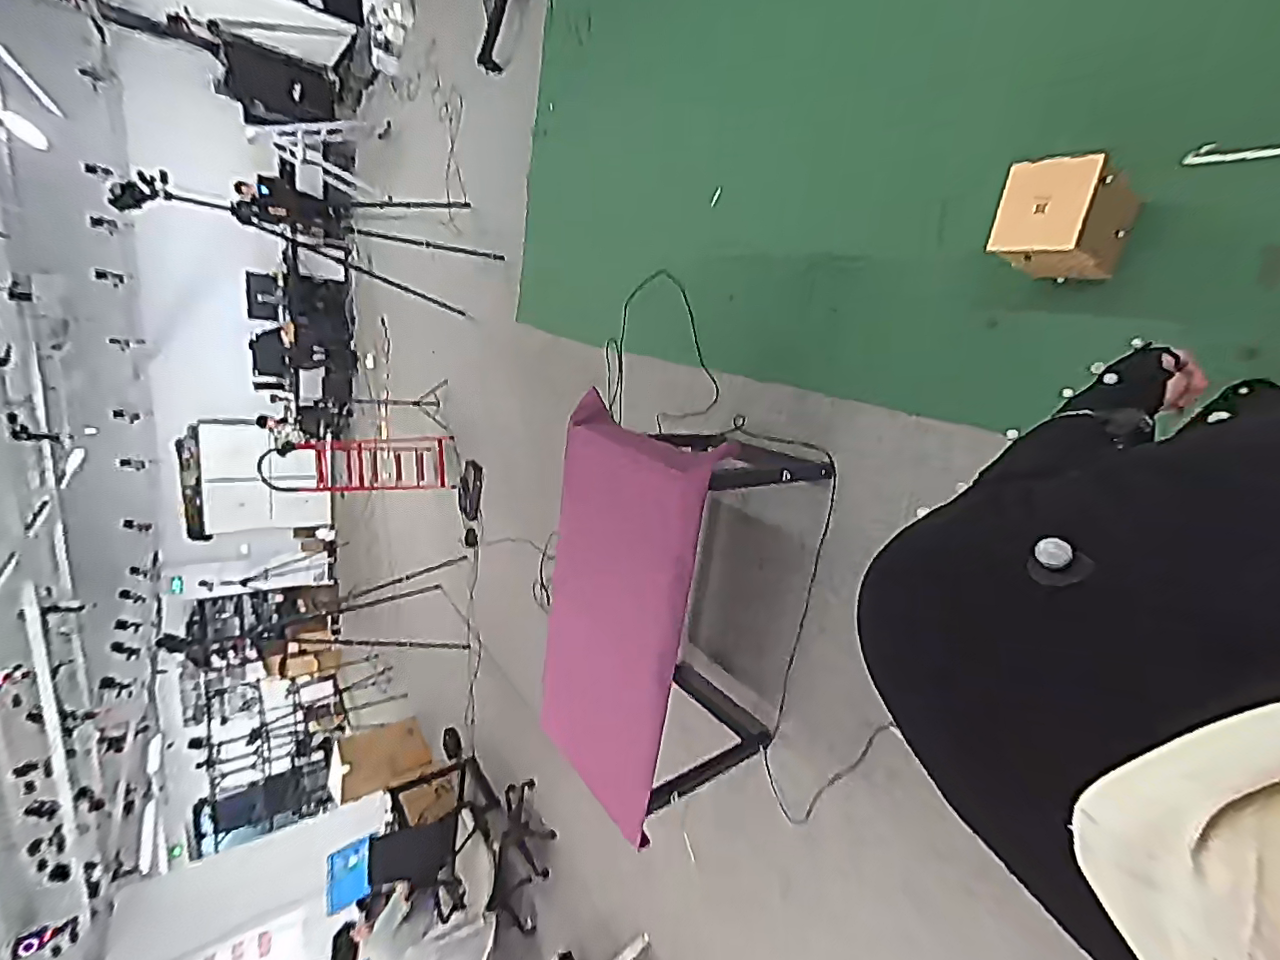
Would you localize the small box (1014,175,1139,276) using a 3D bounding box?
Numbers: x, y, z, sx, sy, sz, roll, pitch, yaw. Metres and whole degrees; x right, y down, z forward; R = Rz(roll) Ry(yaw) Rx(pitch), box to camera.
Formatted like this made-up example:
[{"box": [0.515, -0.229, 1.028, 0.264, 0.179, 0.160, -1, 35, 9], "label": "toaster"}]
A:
[{"box": [1.019, -0.585, 1.260, 0.168, 0.176, 0.179, 28, 115, 48], "label": "small box"}]

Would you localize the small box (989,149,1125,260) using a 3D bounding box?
[{"box": [0.894, -0.577, 1.158, 0.168, 0.176, 0.179, 27, 113, 48], "label": "small box"}]
